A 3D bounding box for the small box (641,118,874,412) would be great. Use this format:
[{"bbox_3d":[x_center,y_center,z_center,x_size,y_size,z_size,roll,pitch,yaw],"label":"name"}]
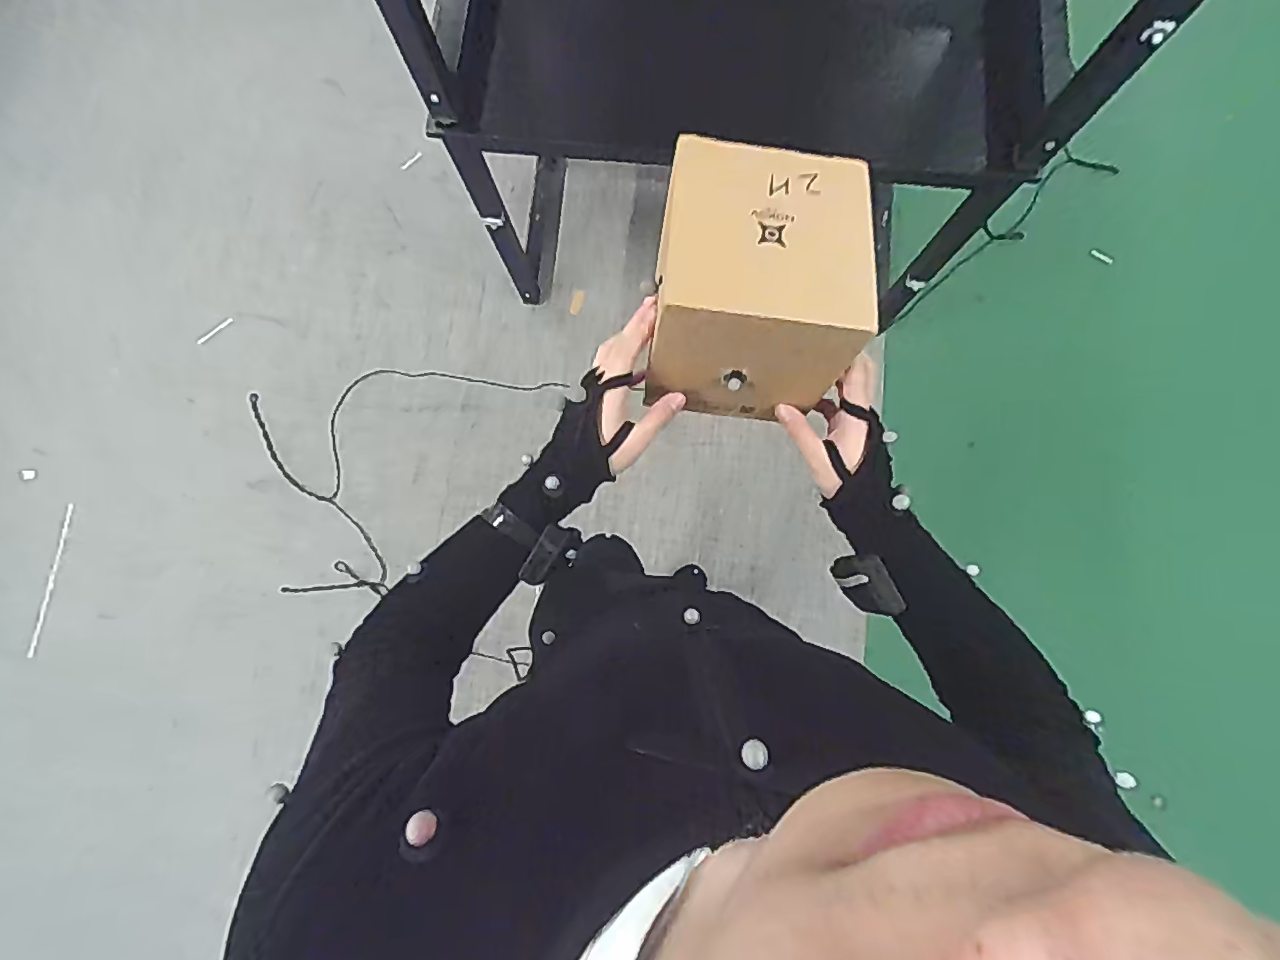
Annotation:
[{"bbox_3d":[0.094,-0.179,0.494,0.168,0.176,0.179,8,71,-3],"label":"small box"}]
